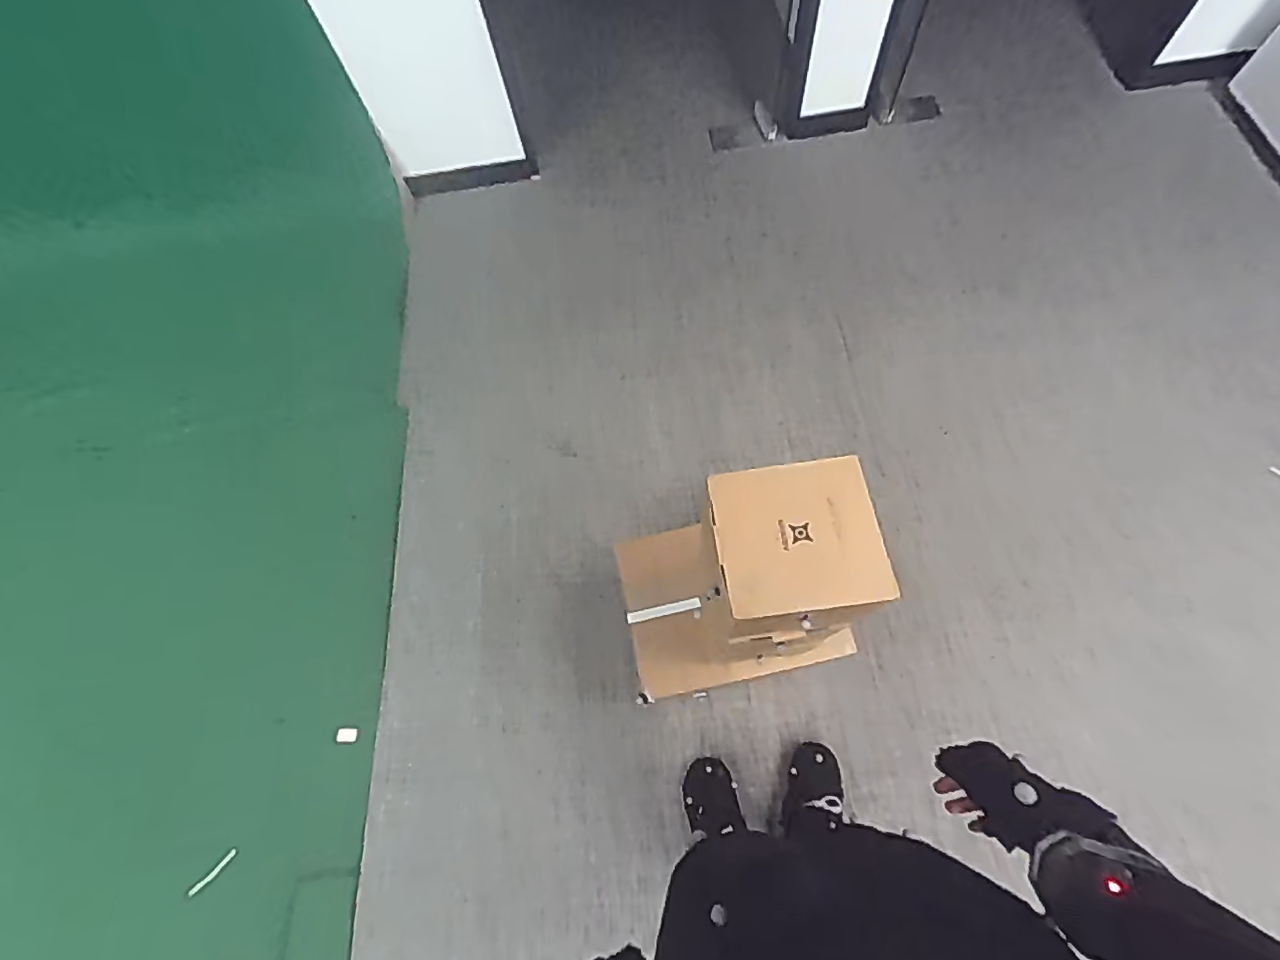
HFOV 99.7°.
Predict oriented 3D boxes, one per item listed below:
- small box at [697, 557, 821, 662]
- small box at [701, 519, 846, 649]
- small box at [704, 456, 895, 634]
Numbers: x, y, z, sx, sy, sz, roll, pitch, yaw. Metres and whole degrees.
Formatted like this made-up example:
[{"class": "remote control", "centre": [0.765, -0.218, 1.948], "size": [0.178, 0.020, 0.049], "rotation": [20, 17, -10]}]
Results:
[{"class": "small box", "centre": [0.198, 0.223, 0.955], "size": [0.179, 0.176, 0.168], "rotation": [-8, 67, 3]}, {"class": "small box", "centre": [0.185, 0.152, 0.808], "size": [0.168, 0.176, 0.179], "rotation": [-9, 67, 1]}, {"class": "small box", "centre": [0.175, 0.088, 0.659], "size": [0.179, 0.176, 0.168], "rotation": [-8, 68, 1]}]
